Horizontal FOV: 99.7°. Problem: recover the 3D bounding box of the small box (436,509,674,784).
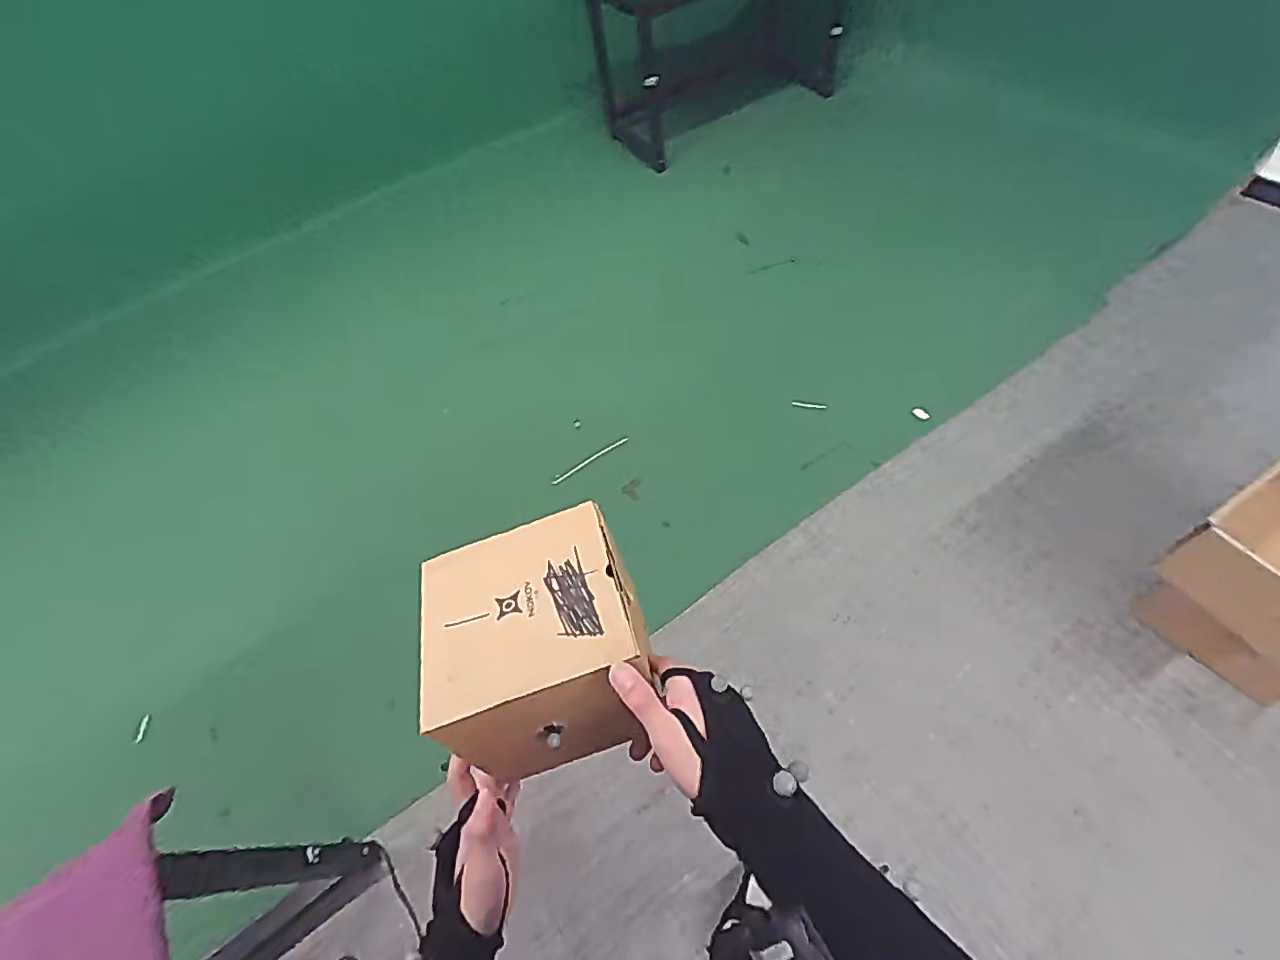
[{"bbox_3d":[-0.073,0.160,0.513,0.179,0.176,0.168,-19,48,-2],"label":"small box"}]
